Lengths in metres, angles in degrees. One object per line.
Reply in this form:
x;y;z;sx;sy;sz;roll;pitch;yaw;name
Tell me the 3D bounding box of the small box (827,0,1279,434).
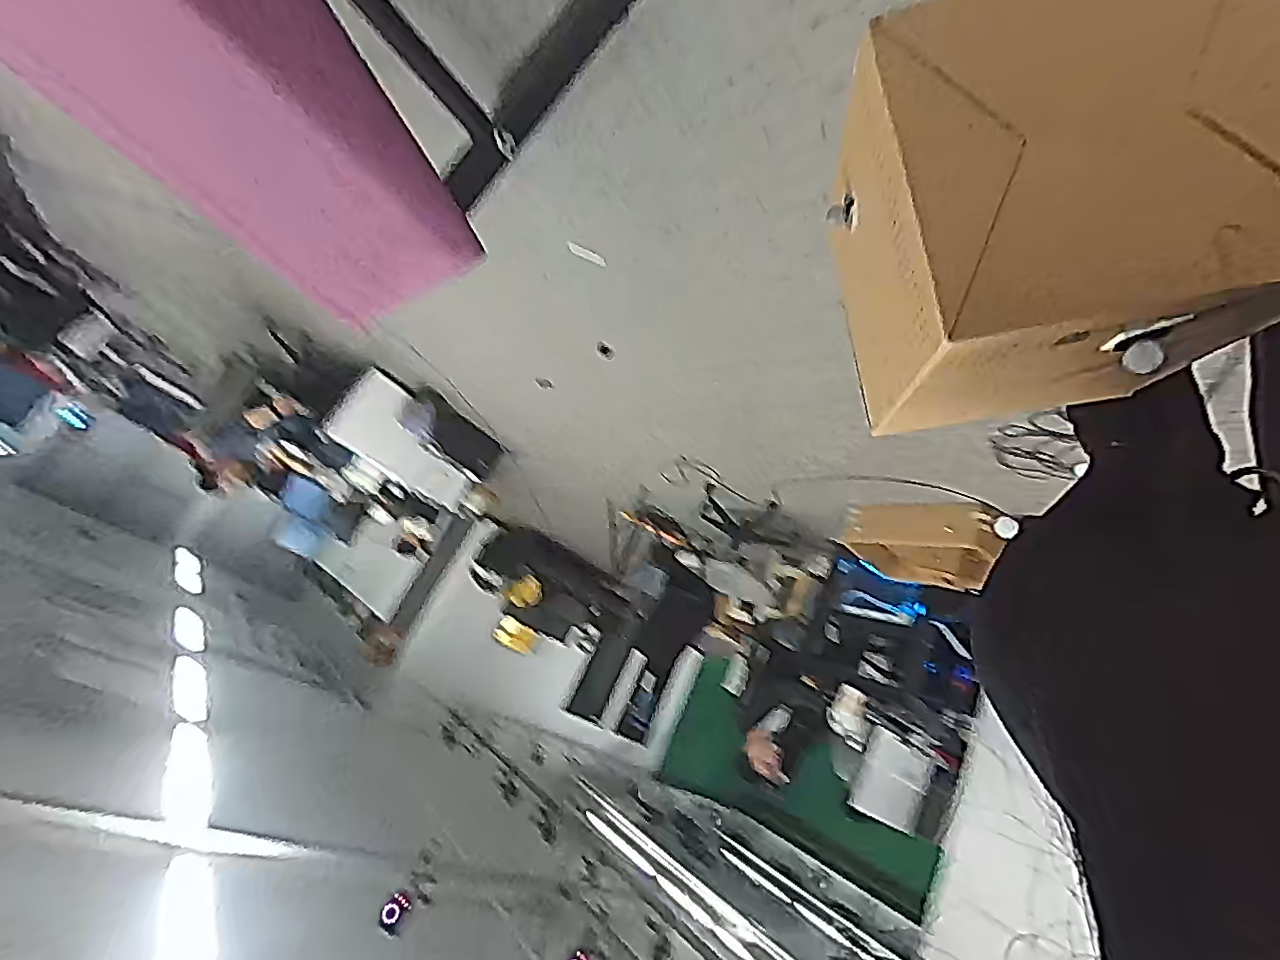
0.213;-0.141;0.308;0.168;0.179;0.176;-9;169;13;small box
